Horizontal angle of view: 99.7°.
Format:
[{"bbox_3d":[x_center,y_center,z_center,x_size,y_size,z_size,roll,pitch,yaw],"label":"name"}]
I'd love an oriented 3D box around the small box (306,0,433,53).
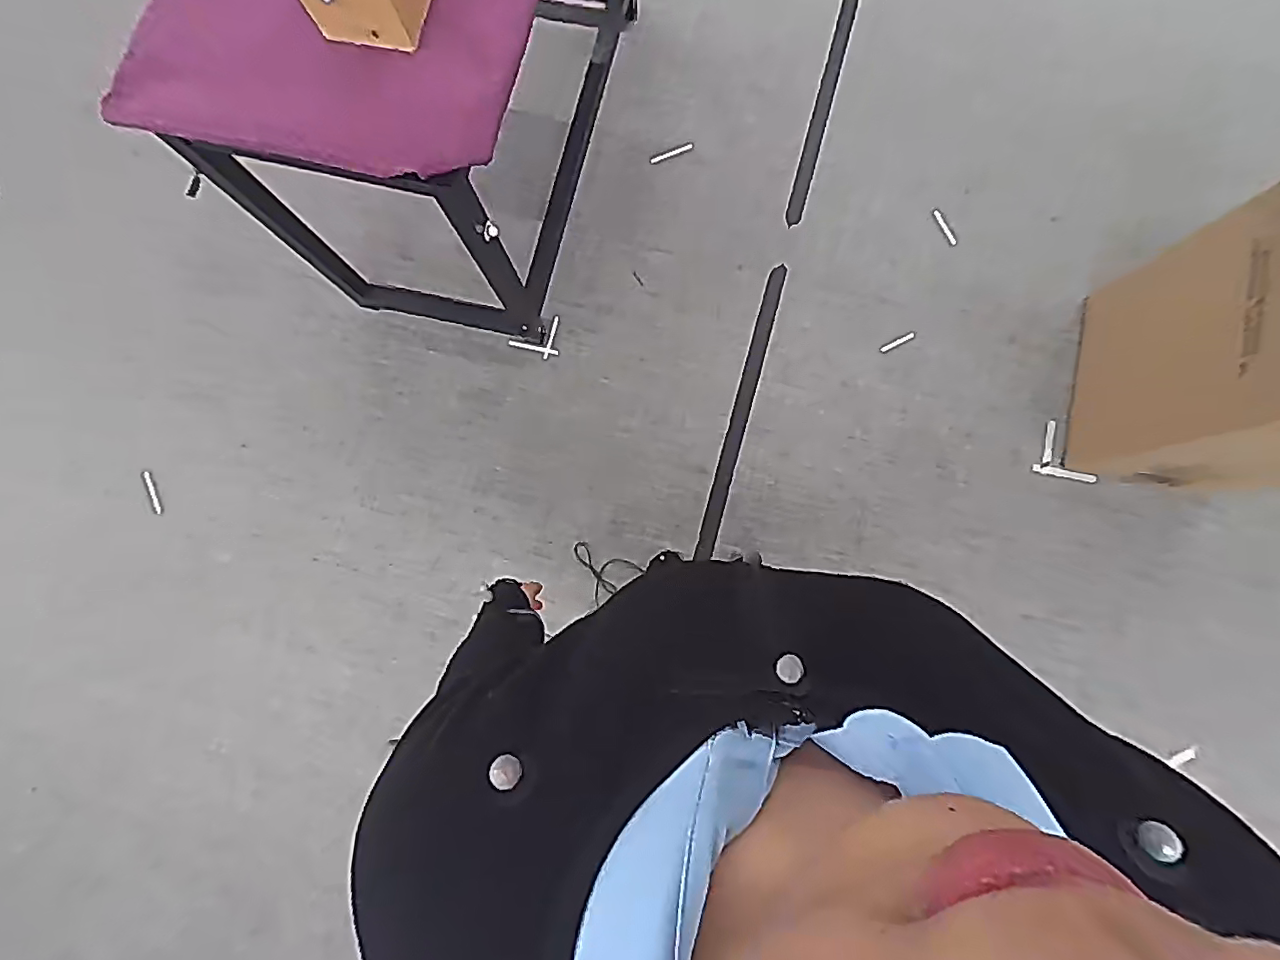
[{"bbox_3d":[-0.447,-0.838,0.867,0.168,0.176,0.179,11,82,4],"label":"small box"}]
